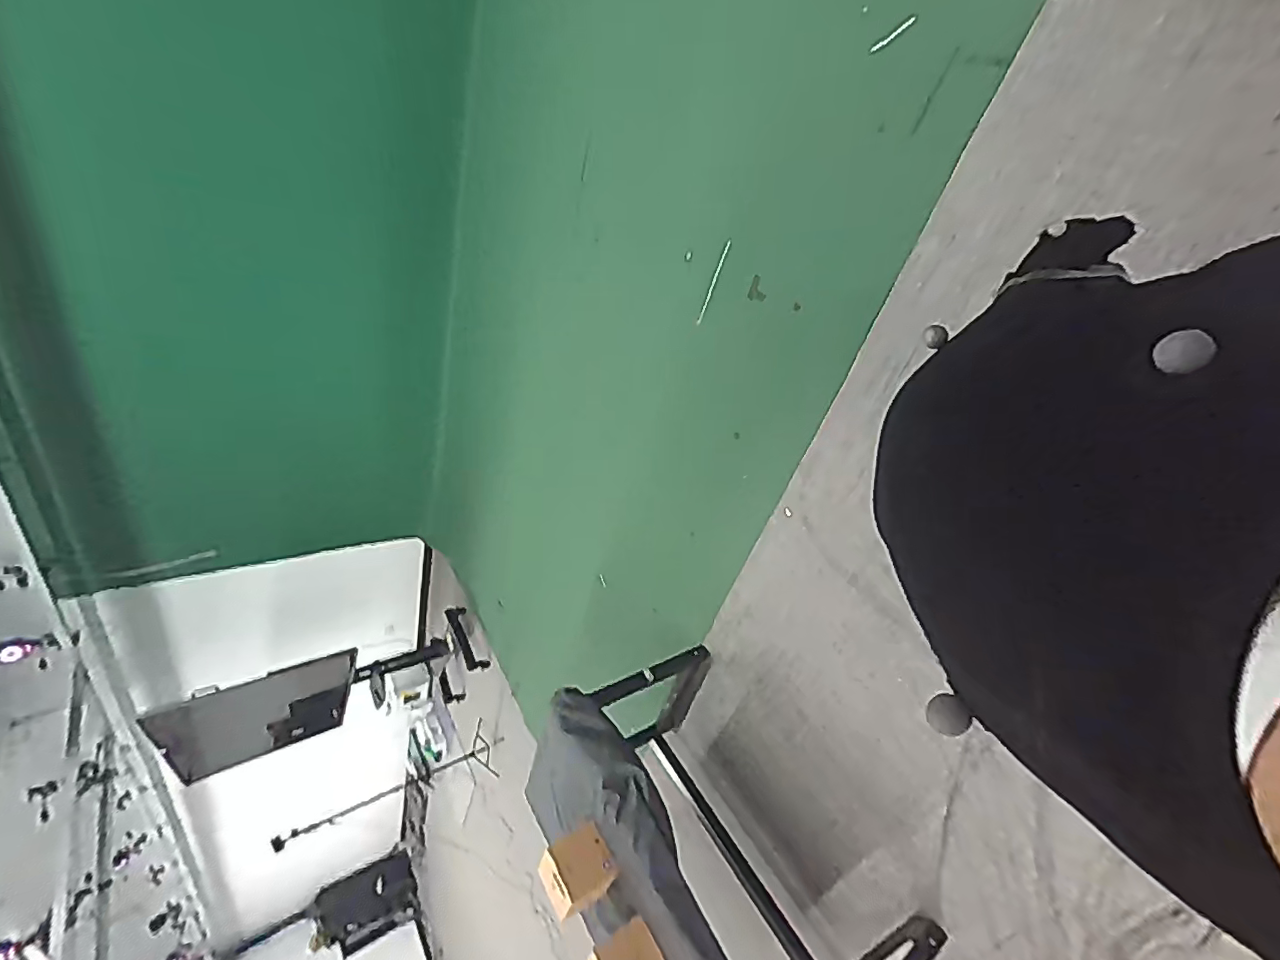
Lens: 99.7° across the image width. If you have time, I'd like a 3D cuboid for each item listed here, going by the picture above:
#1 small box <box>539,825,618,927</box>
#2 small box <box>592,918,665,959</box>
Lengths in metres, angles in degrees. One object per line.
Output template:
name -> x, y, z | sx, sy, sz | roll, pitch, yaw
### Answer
small box -> -0.187, 1.216, 1.670 | 0.168, 0.176, 0.179 | 47, 133, 36
small box -> -0.027, 1.382, 1.501 | 0.179, 0.176, 0.168 | 44, 130, 37
